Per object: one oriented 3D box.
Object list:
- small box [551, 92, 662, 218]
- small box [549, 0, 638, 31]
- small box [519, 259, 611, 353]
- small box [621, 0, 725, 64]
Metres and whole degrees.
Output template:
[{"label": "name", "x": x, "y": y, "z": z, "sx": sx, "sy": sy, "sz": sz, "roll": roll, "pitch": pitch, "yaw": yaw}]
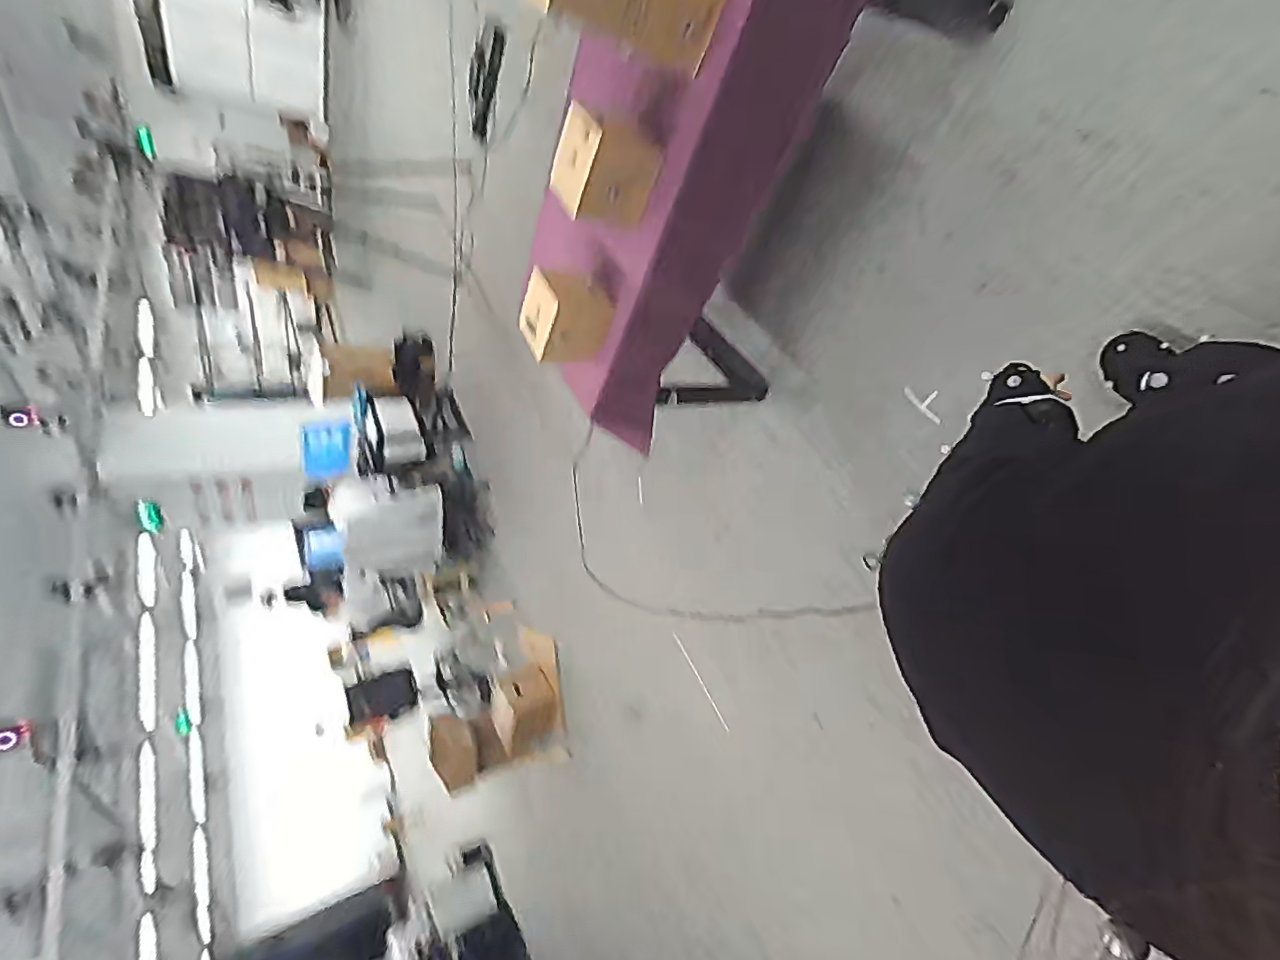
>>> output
[{"label": "small box", "x": -0.076, "y": -0.722, "z": 1.219, "sx": 0.168, "sy": 0.176, "sz": 0.179, "roll": 60, "pitch": 139, "yaw": 28}, {"label": "small box", "x": -0.090, "y": -0.915, "z": 0.924, "sx": 0.179, "sy": 0.176, "sz": 0.168, "roll": 60, "pitch": 138, "yaw": 28}, {"label": "small box", "x": -0.200, "y": -0.454, "z": 1.435, "sx": 0.168, "sy": 0.176, "sz": 0.179, "roll": 60, "pitch": 138, "yaw": 29}, {"label": "small box", "x": 0.042, "y": -0.932, "z": 1.022, "sx": 0.179, "sy": 0.176, "sz": 0.168, "roll": 60, "pitch": 139, "yaw": 27}]
